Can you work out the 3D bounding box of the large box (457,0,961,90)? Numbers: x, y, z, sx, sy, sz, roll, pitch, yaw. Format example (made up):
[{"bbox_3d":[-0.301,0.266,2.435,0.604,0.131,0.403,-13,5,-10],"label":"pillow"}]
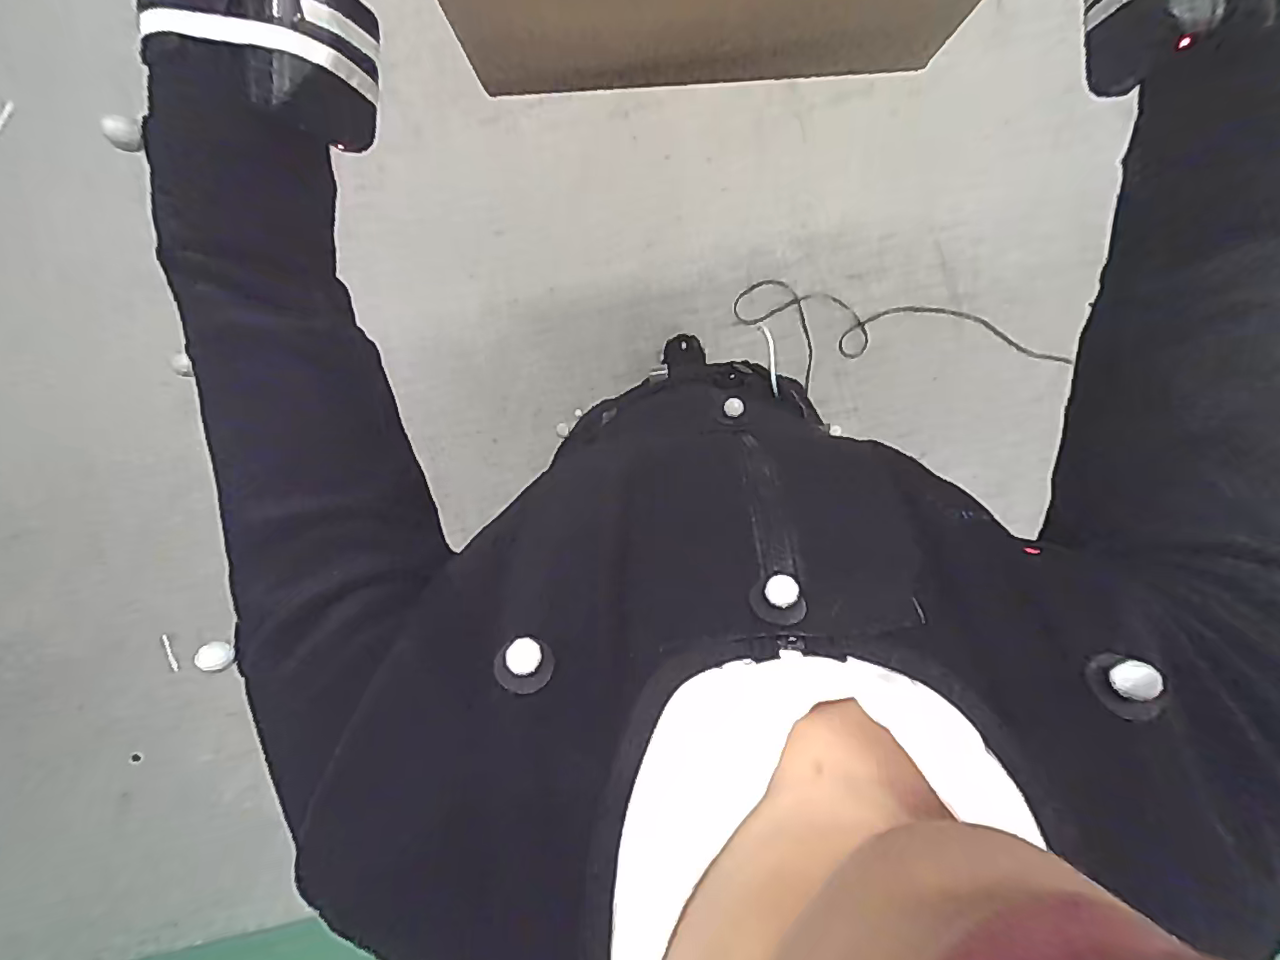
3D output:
[{"bbox_3d":[0.051,-0.502,0.333,0.408,0.320,0.320,-4,99,0],"label":"large box"}]
